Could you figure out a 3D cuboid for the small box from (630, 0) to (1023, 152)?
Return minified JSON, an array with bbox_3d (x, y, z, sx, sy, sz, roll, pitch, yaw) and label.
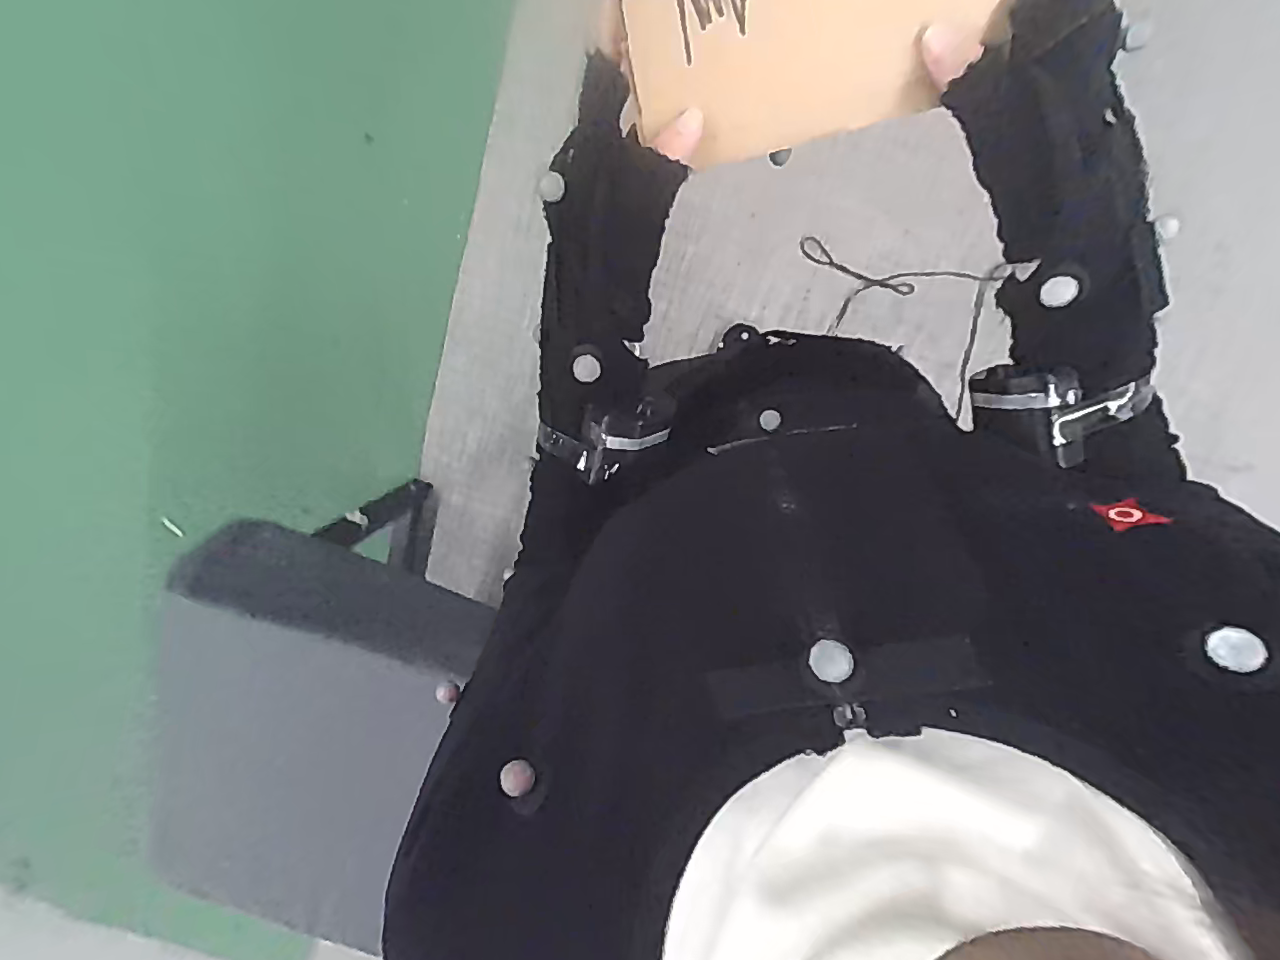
[{"bbox_3d":[0.079,-0.294,0.289,0.179,0.176,0.168,-9,127,8],"label":"small box"}]
